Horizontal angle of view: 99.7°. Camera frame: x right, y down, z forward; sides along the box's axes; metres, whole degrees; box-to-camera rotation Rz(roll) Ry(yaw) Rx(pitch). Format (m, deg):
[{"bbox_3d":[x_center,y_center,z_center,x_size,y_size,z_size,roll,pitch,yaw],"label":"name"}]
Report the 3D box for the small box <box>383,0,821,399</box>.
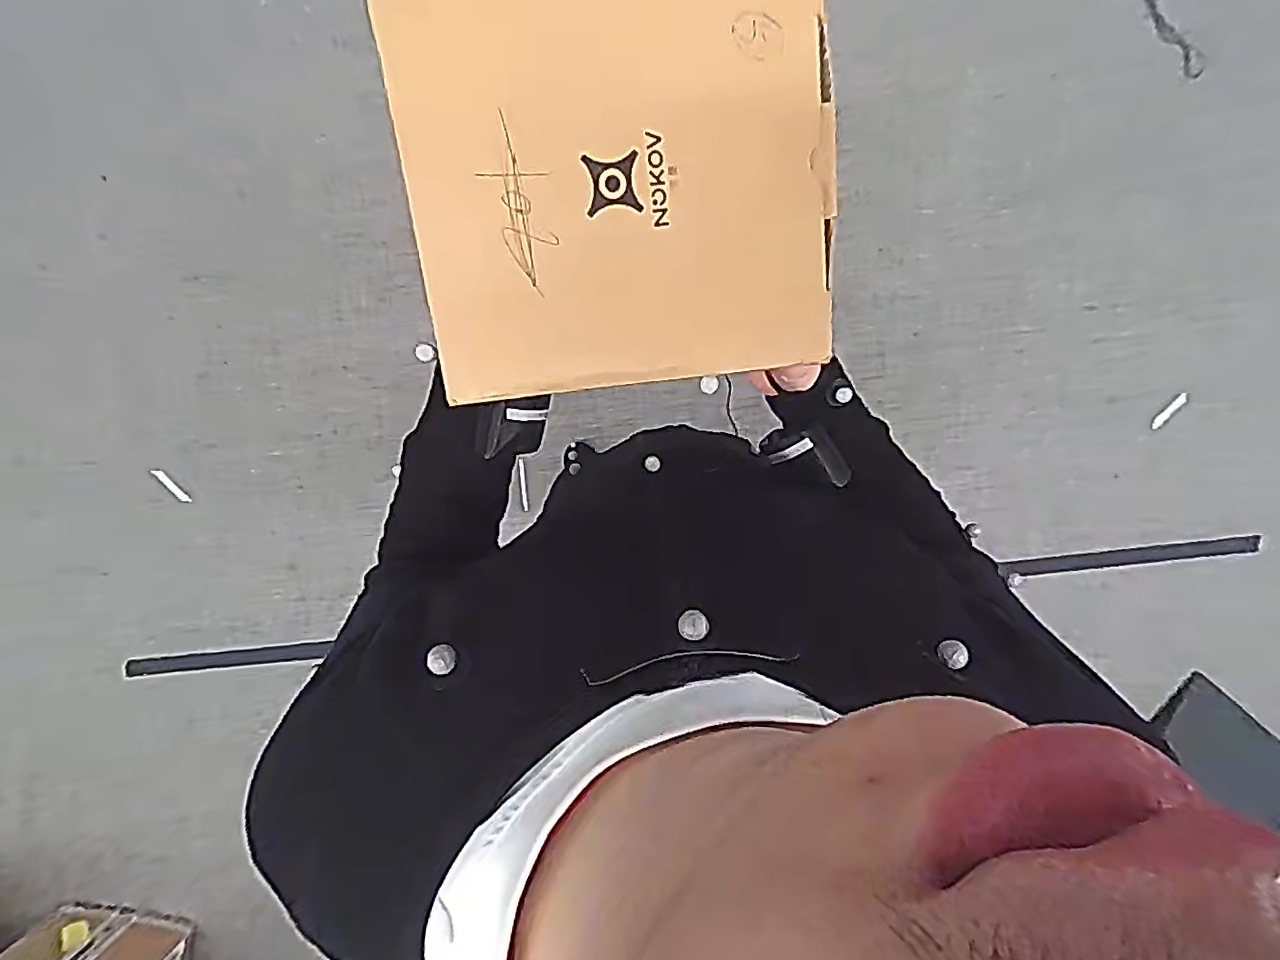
[{"bbox_3d":[-0.013,-0.144,0.311,0.179,0.176,0.168,-7,104,-1],"label":"small box"}]
